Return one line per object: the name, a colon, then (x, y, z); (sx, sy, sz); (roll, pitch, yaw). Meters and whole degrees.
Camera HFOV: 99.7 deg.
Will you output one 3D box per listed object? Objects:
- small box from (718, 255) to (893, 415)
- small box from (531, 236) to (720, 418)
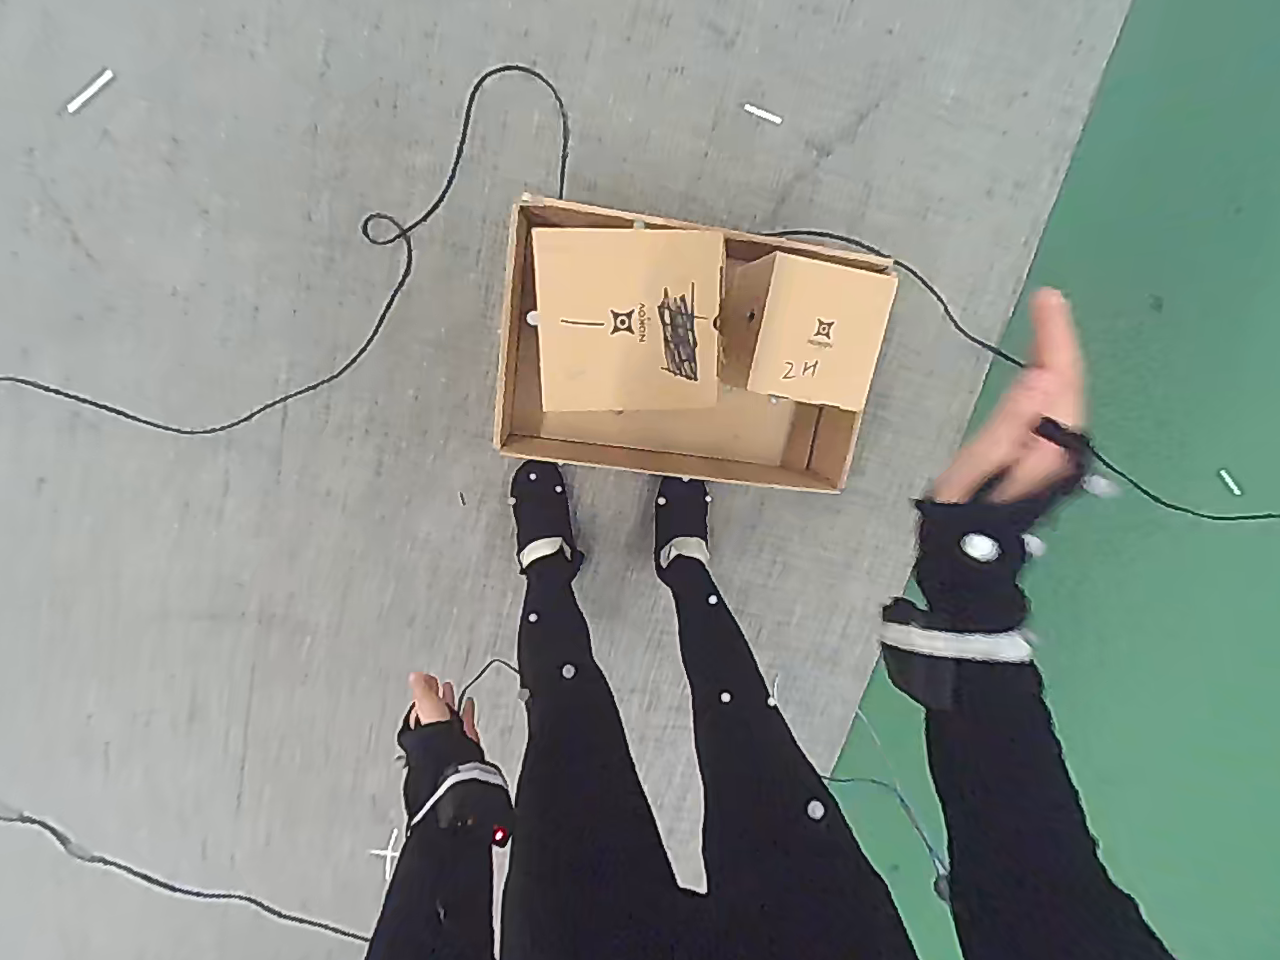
small box: (0.220, -0.202, 0.769); (0.168, 0.176, 0.179); (9, 104, -7)
small box: (-0.022, -0.163, 0.585); (0.179, 0.176, 0.168); (-2, 106, -6)
